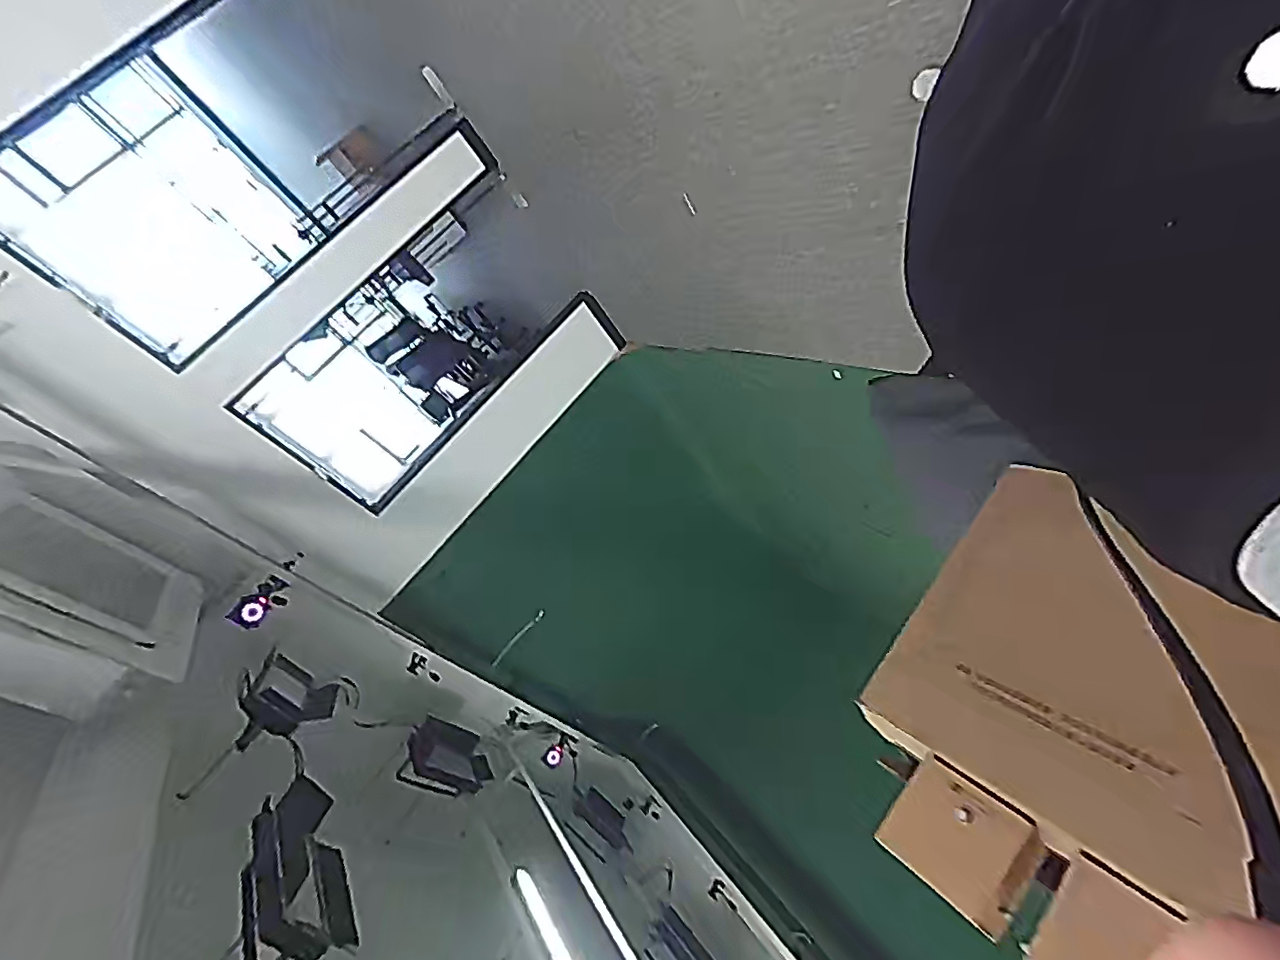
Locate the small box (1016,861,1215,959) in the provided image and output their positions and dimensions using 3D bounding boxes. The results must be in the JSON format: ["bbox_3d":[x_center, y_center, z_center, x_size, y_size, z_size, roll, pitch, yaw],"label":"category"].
[{"bbox_3d":[0.639,0.666,0.726,0.179,0.176,0.168,22,157,52],"label":"small box"}]

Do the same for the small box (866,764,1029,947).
[{"bbox_3d":[0.519,0.621,0.906,0.168,0.176,0.179,24,158,52],"label":"small box"}]
